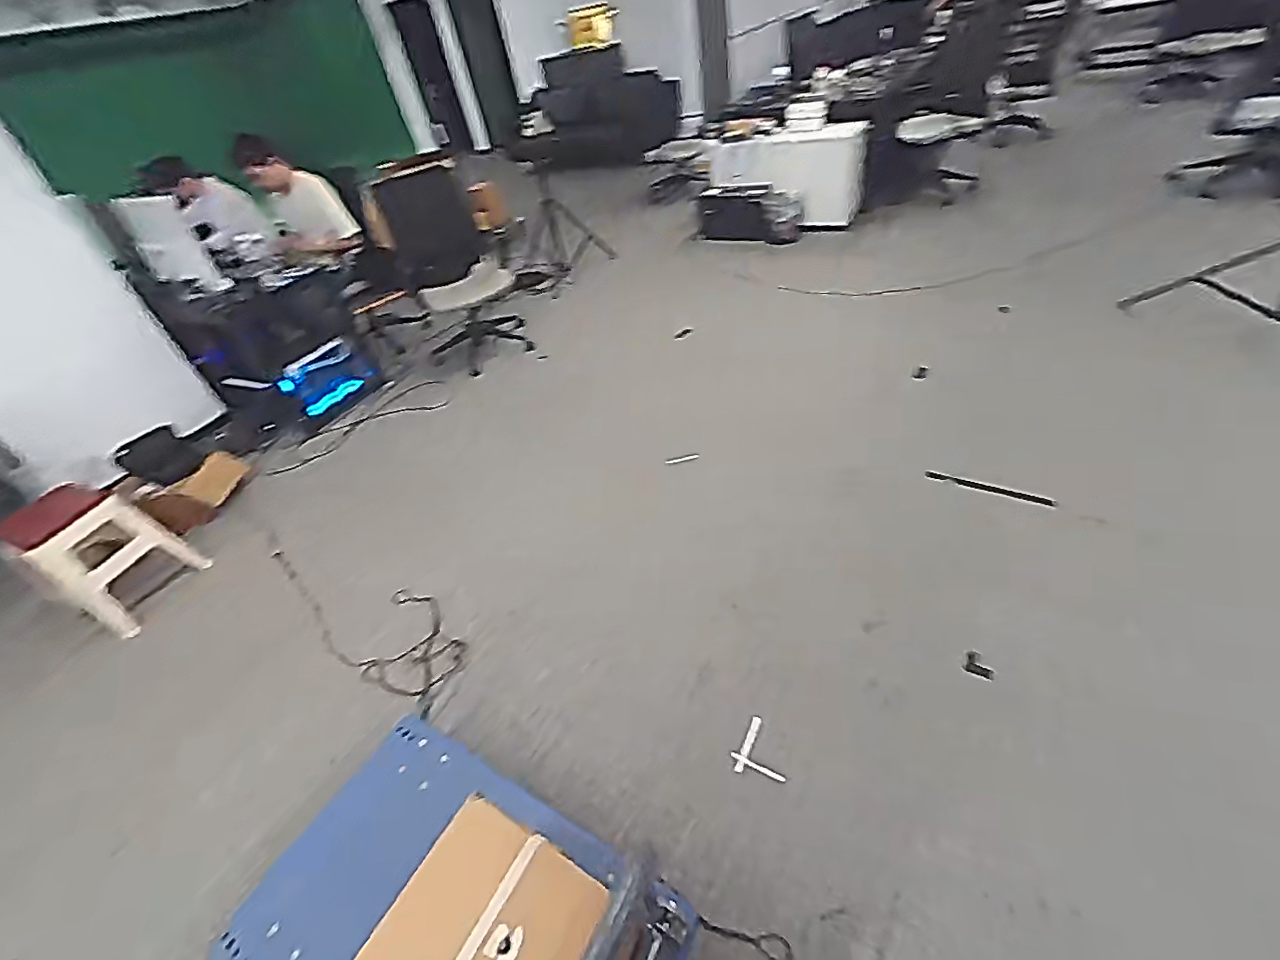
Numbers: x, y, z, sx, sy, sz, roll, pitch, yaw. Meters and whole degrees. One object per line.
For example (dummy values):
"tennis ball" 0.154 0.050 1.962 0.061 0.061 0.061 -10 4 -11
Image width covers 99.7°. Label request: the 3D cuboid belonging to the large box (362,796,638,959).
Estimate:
"large box" -0.246 0.849 0.902 0.320 0.320 0.408 16 48 26
